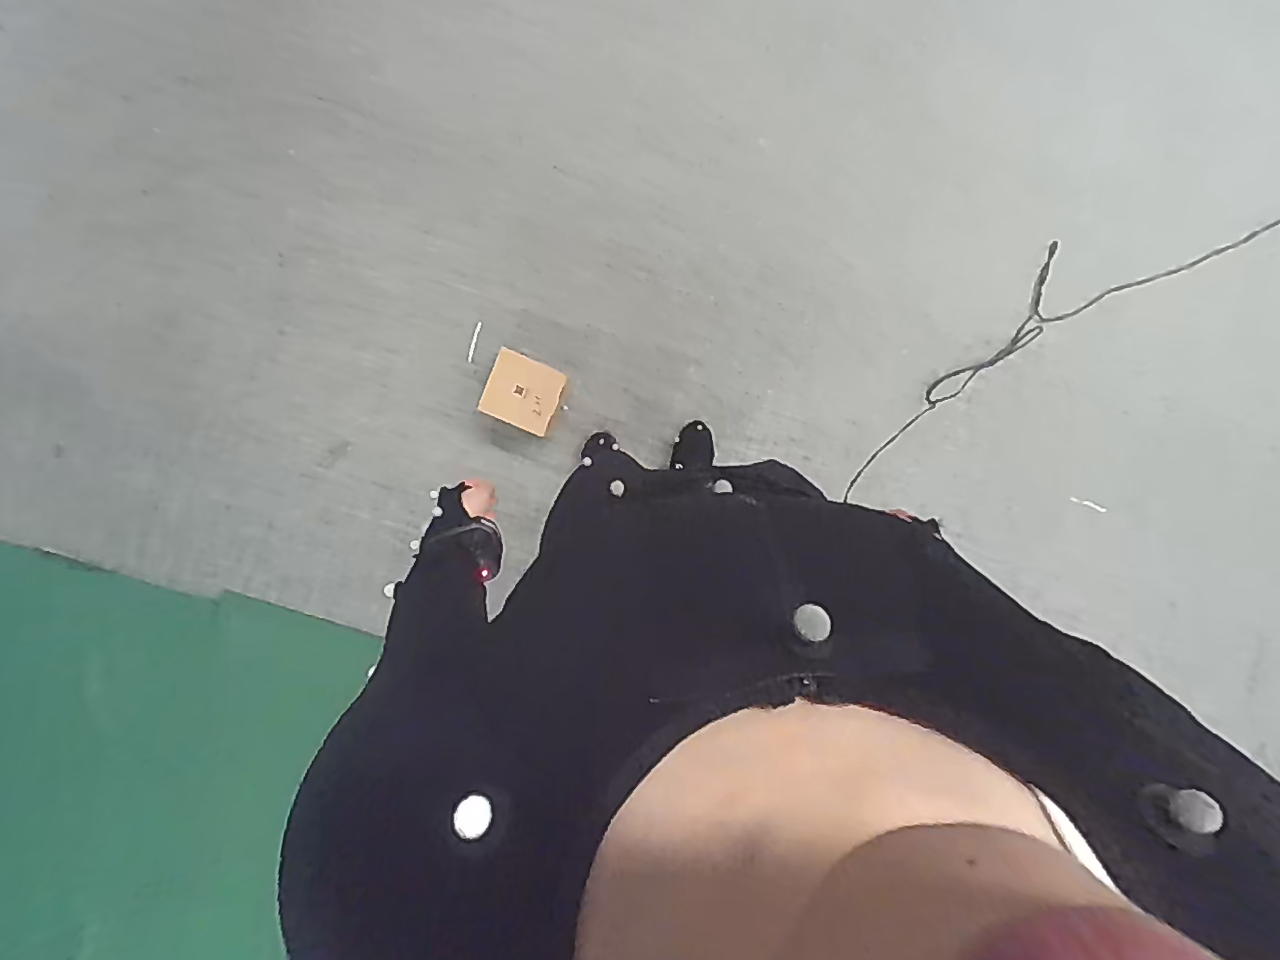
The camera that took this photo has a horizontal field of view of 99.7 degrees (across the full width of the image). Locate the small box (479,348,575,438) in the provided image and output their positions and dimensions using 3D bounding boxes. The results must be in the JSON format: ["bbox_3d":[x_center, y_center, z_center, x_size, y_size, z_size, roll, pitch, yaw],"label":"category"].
[{"bbox_3d":[-0.280,-0.217,1.379,0.179,0.176,0.168,23,97,-3],"label":"small box"}]
